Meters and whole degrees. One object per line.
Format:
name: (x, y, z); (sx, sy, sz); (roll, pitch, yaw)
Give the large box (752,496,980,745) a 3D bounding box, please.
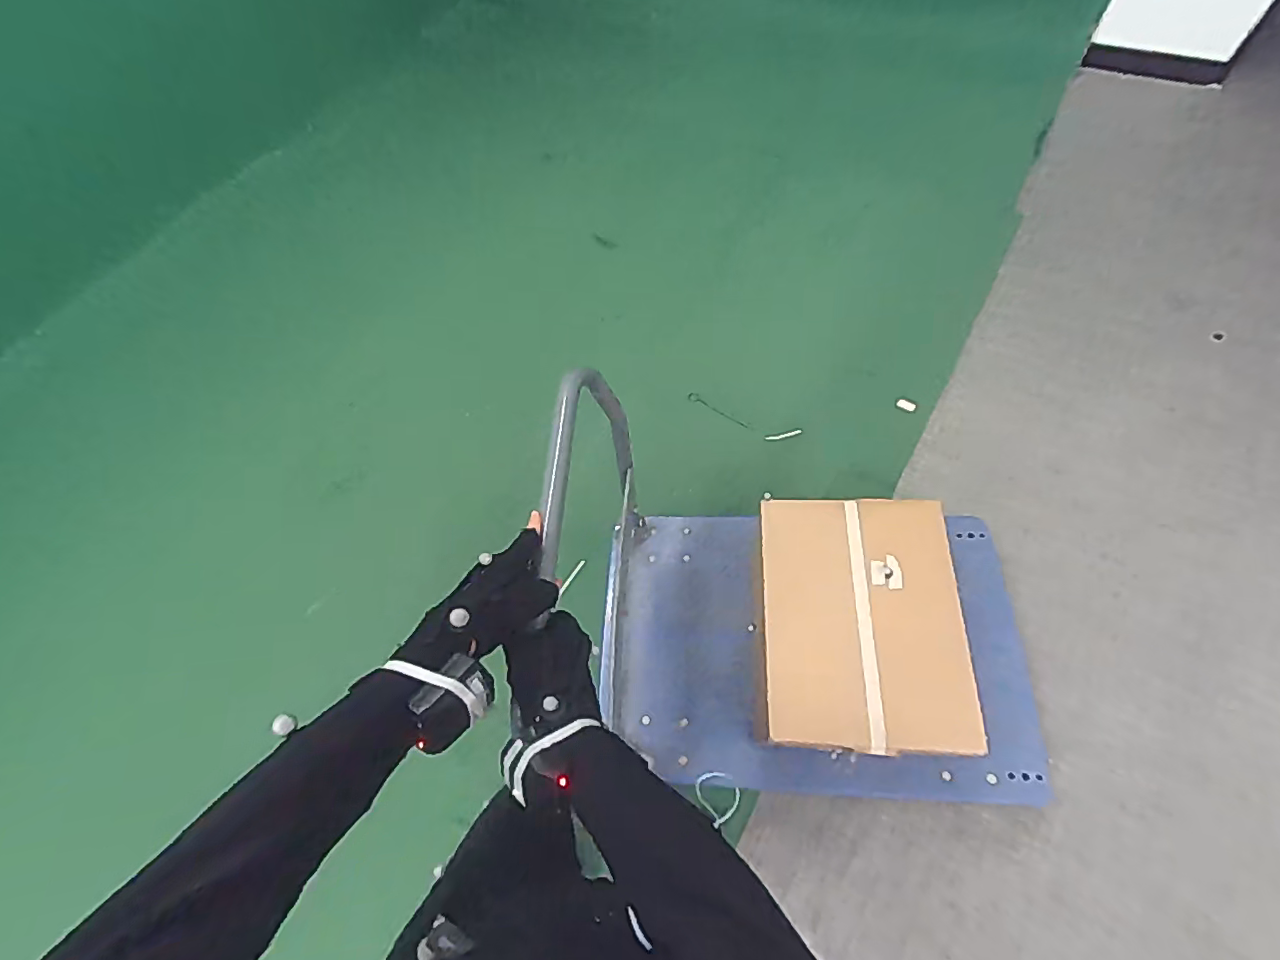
large box: (0.381, 0.277, 1.032); (0.320, 0.320, 0.408); (0, 63, 8)
